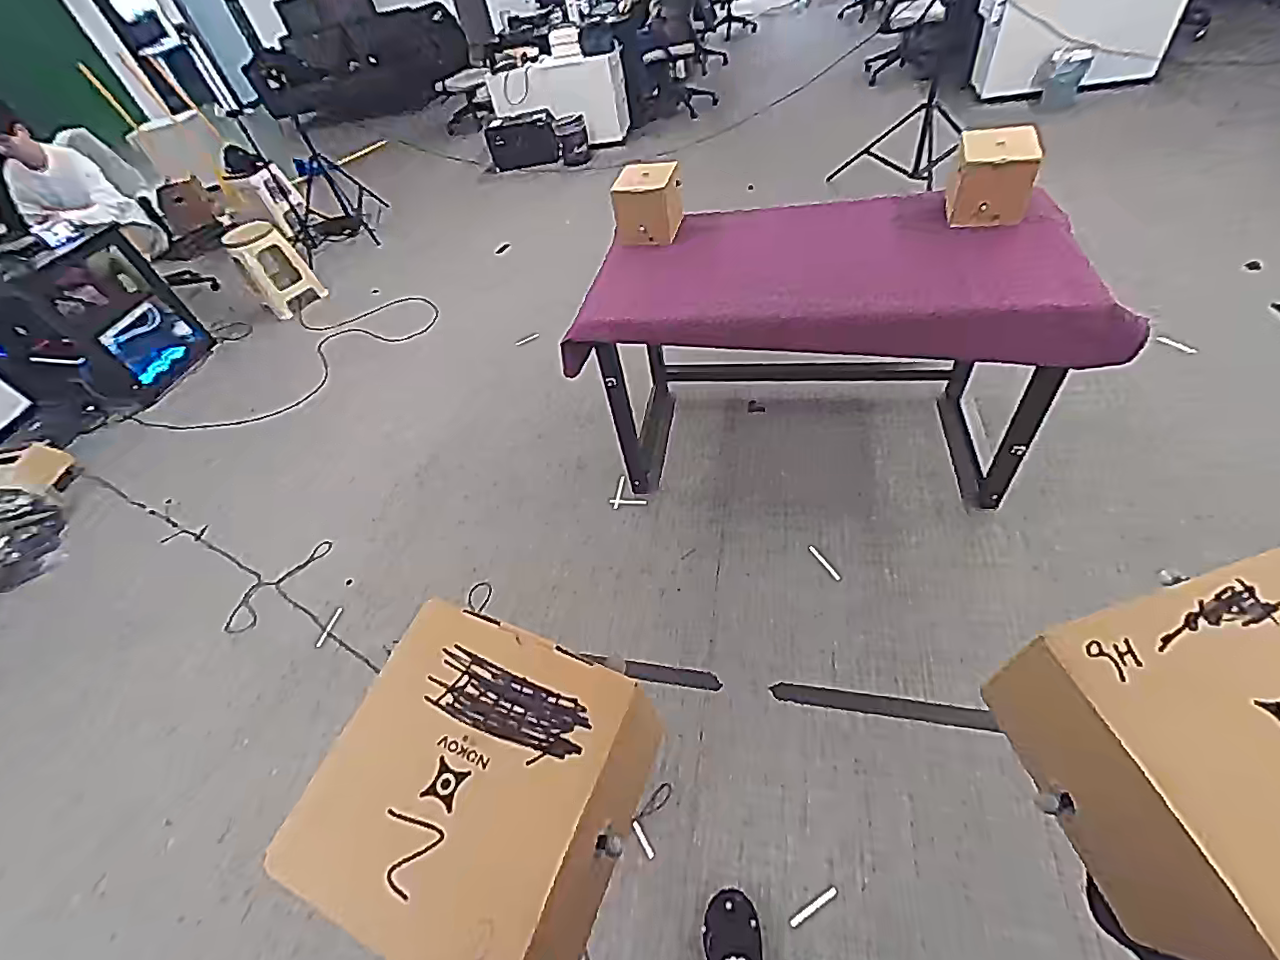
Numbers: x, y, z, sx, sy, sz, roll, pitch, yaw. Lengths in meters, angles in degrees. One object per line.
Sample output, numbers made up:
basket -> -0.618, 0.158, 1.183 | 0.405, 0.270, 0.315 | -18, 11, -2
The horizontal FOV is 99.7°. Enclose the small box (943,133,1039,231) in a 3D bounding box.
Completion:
small box -> 0.908, -0.778, 1.419 | 0.168, 0.176, 0.179 | 6, 55, 17

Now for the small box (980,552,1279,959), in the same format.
small box -> 0.364, 0.176, 0.349 | 0.168, 0.176, 0.179 | -21, 55, 4

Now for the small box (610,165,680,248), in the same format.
small box -> 0.023, -0.832, 1.649 | 0.168, 0.176, 0.179 | 6, 53, 17
